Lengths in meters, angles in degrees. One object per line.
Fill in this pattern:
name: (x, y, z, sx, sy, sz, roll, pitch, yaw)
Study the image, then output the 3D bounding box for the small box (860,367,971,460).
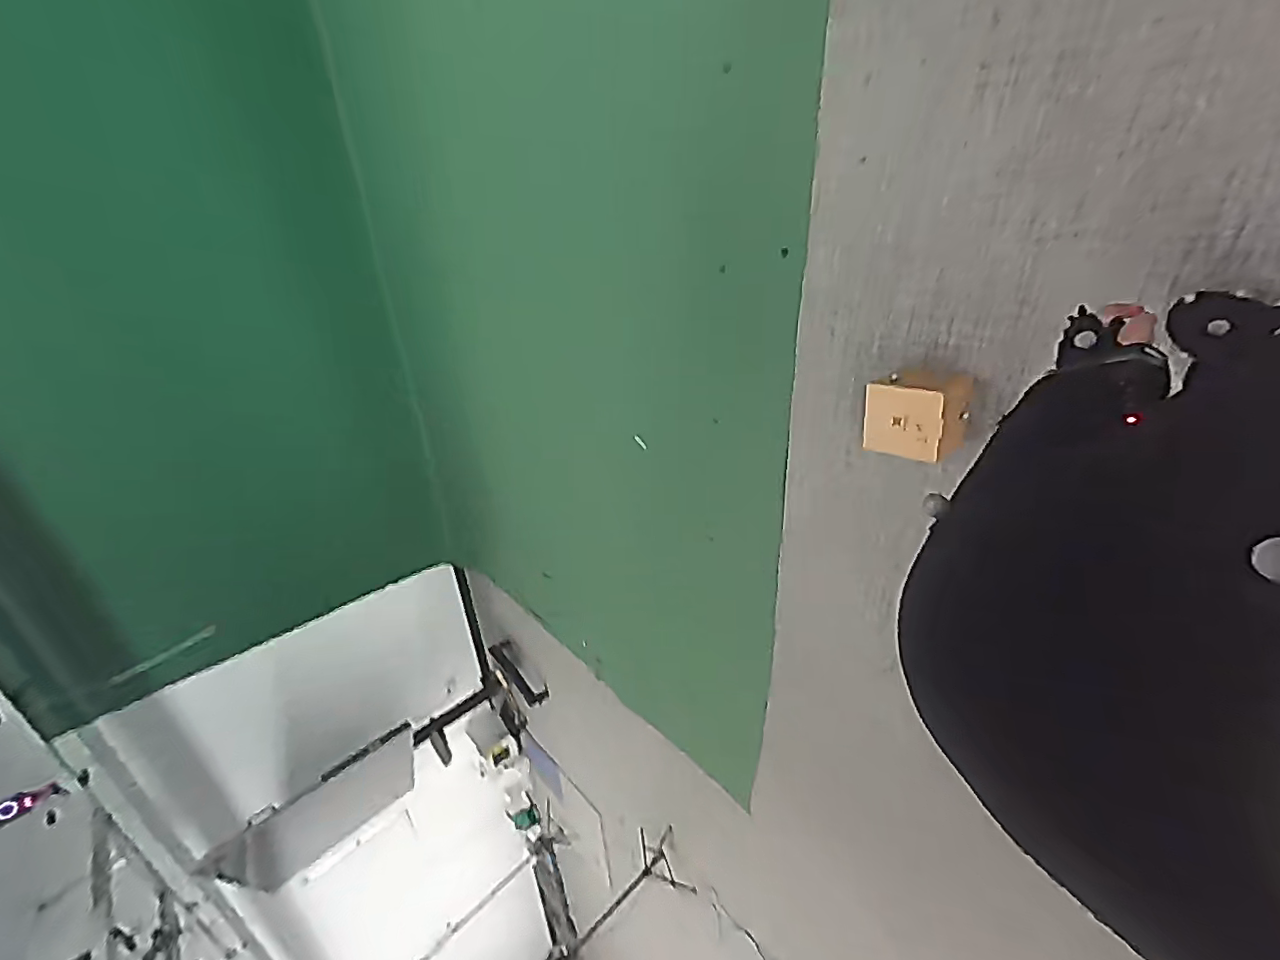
small box: (0.651, -0.166, 1.283, 0.179, 0.176, 0.168, 19, 125, 44)
